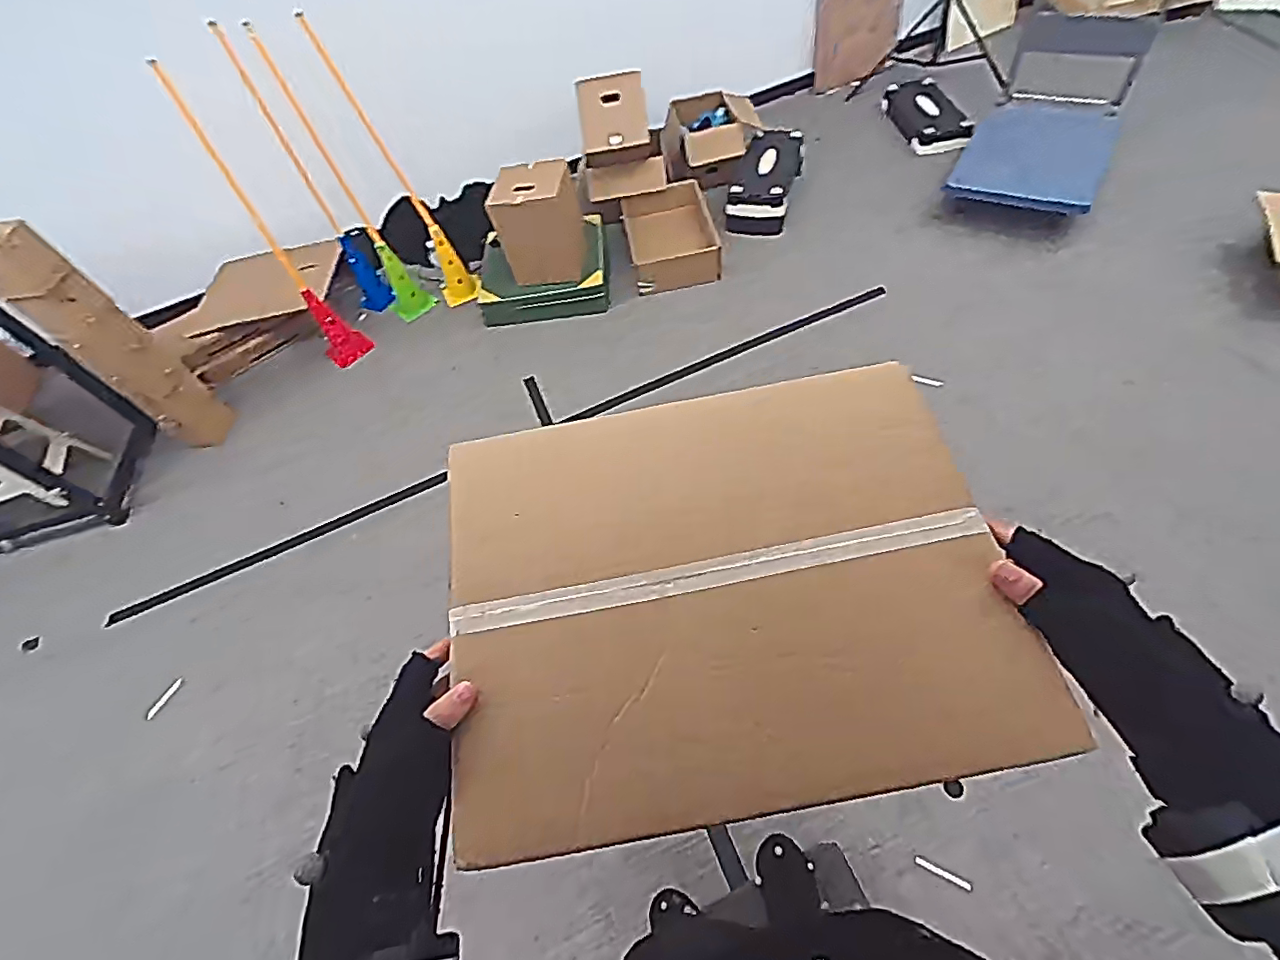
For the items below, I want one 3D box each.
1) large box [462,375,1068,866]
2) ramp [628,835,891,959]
[{"bbox_3d":[0.075,0.140,0.547,0.408,0.320,0.320,-10,63,0],"label":"large box"},{"bbox_3d":[0.395,1.279,0.966,0.509,0.206,0.991,-24,56,-9],"label":"ramp"}]
